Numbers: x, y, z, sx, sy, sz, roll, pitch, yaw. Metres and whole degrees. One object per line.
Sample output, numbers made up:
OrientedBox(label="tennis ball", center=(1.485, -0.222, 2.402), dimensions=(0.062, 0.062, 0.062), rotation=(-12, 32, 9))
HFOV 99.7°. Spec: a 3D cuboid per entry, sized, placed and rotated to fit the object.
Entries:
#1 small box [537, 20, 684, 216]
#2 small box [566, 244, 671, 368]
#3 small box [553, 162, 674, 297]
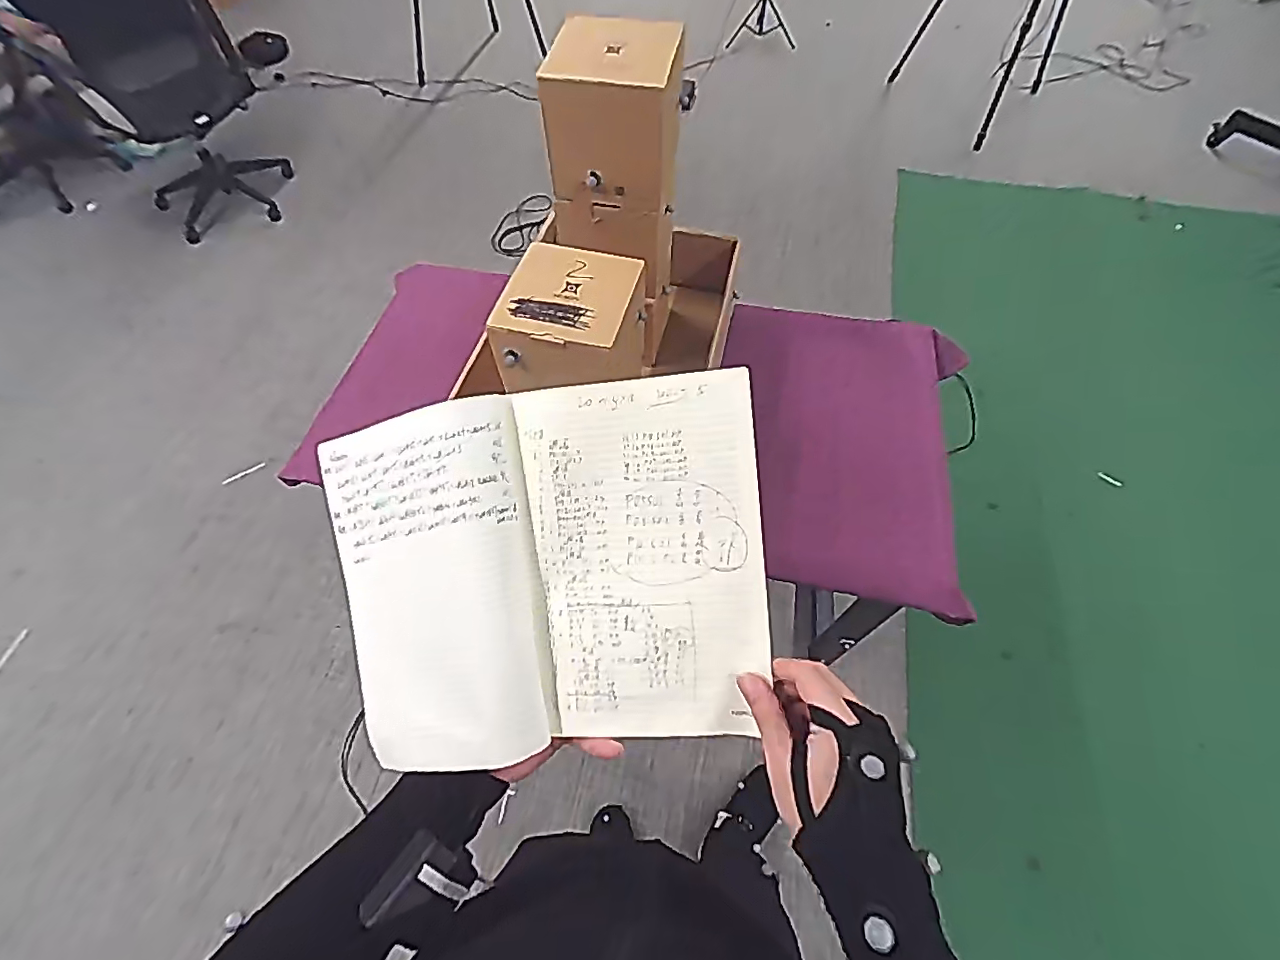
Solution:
OrientedBox(label="small box", center=(-0.036, -0.519, 0.781), dimensions=(0.168, 0.176, 0.179), rotation=(9, 62, 6))
OrientedBox(label="small box", center=(-0.038, -0.350, 1.062), dimensions=(0.168, 0.176, 0.179), rotation=(10, 61, 6))
OrientedBox(label="small box", center=(-0.037, -0.439, 0.923), dimensions=(0.168, 0.176, 0.179), rotation=(9, 60, 5))
